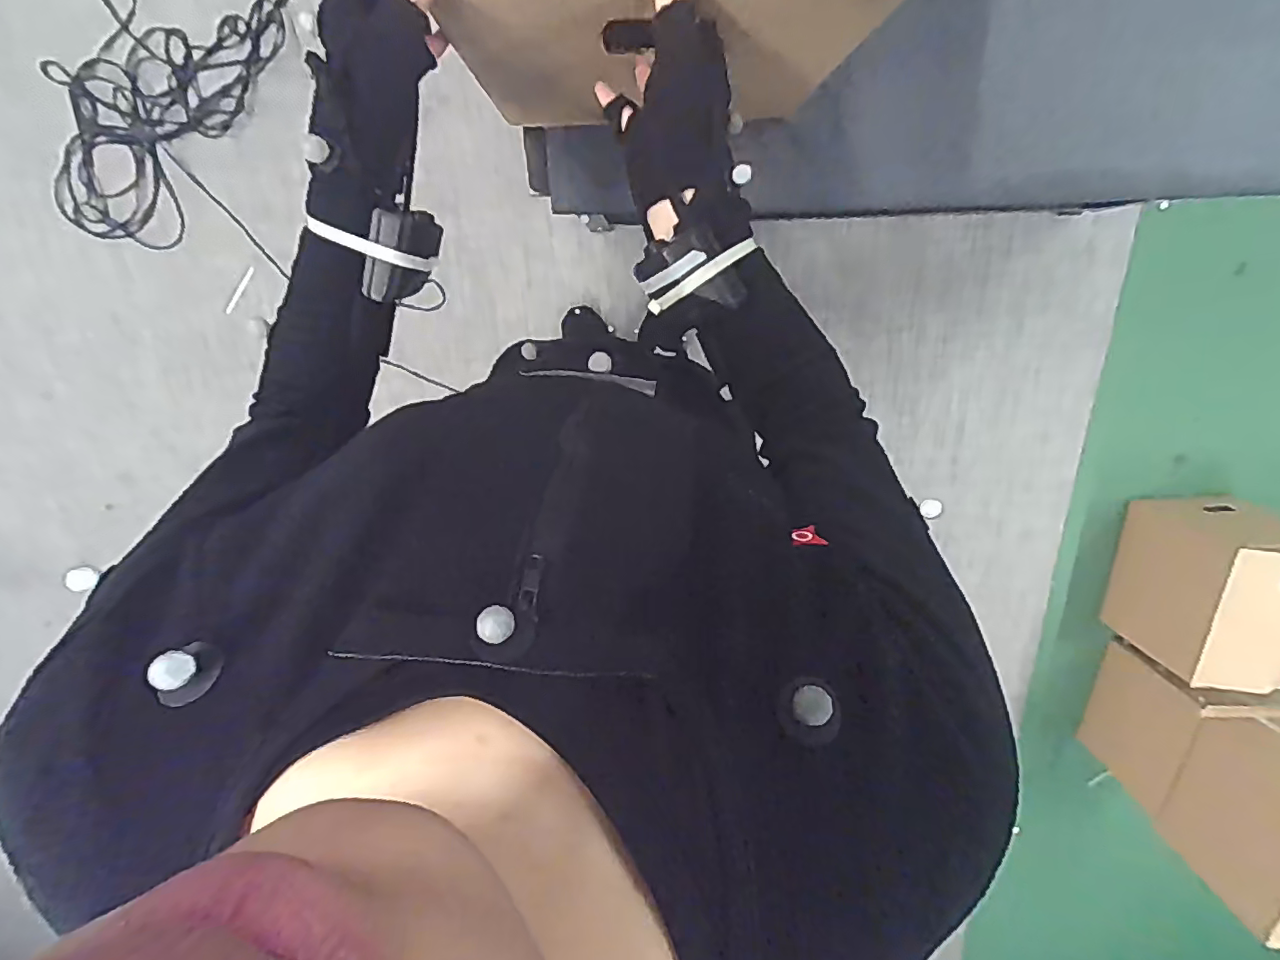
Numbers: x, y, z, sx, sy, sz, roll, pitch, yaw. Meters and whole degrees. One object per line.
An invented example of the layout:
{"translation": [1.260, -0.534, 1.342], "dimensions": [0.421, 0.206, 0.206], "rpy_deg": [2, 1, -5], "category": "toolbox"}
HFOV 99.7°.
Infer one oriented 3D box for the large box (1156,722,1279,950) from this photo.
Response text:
{"translation": [1.628, 0.873, 1.352], "dimensions": [0.320, 0.320, 0.408], "rpy_deg": [0, 111, 1], "category": "large box"}
